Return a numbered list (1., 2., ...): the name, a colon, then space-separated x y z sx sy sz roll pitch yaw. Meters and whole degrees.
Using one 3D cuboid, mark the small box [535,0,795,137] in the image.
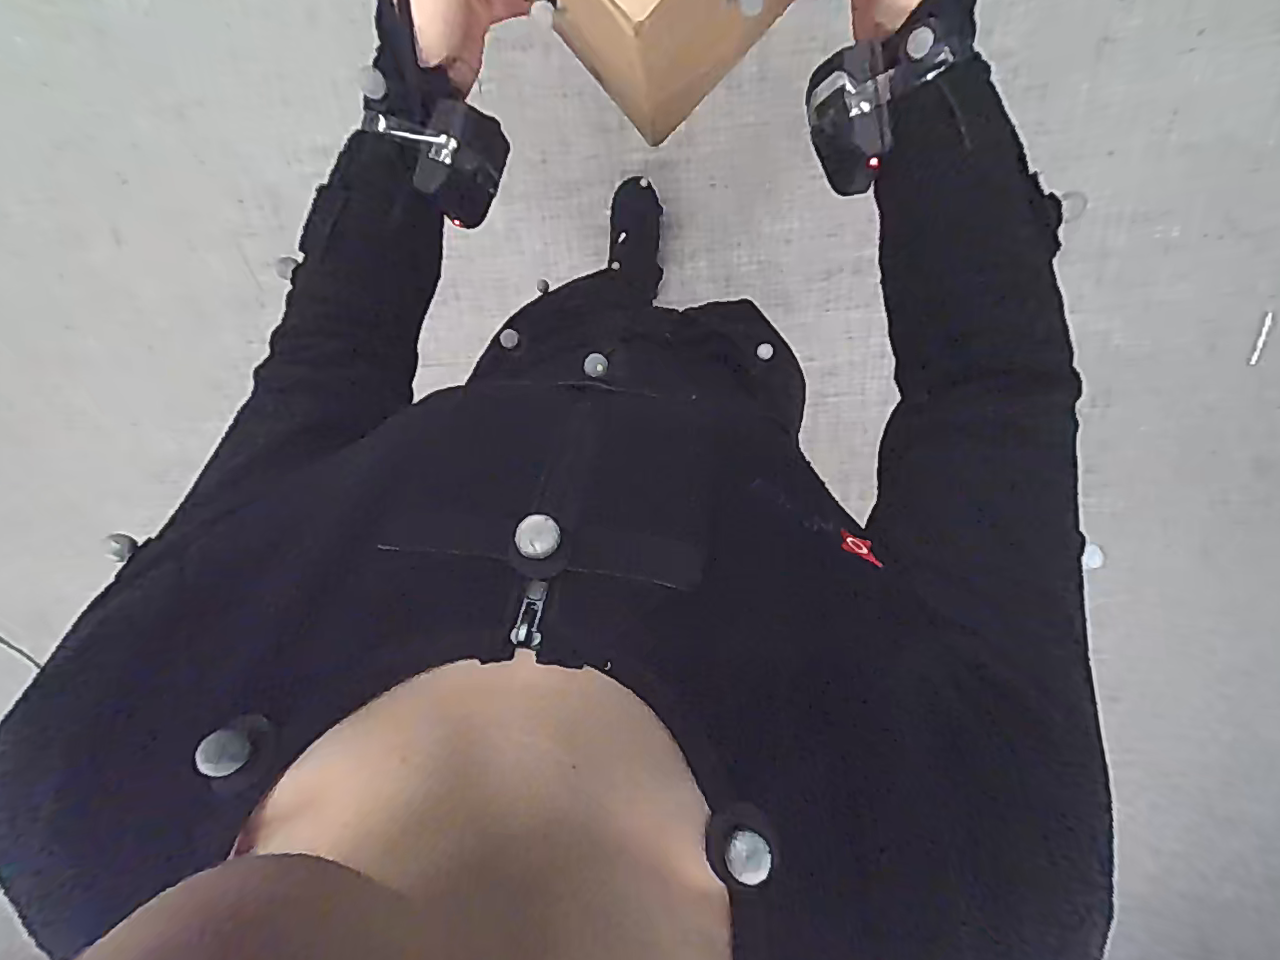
1. small box: 0.011 -0.339 0.299 0.179 0.176 0.168 -41 98 15
